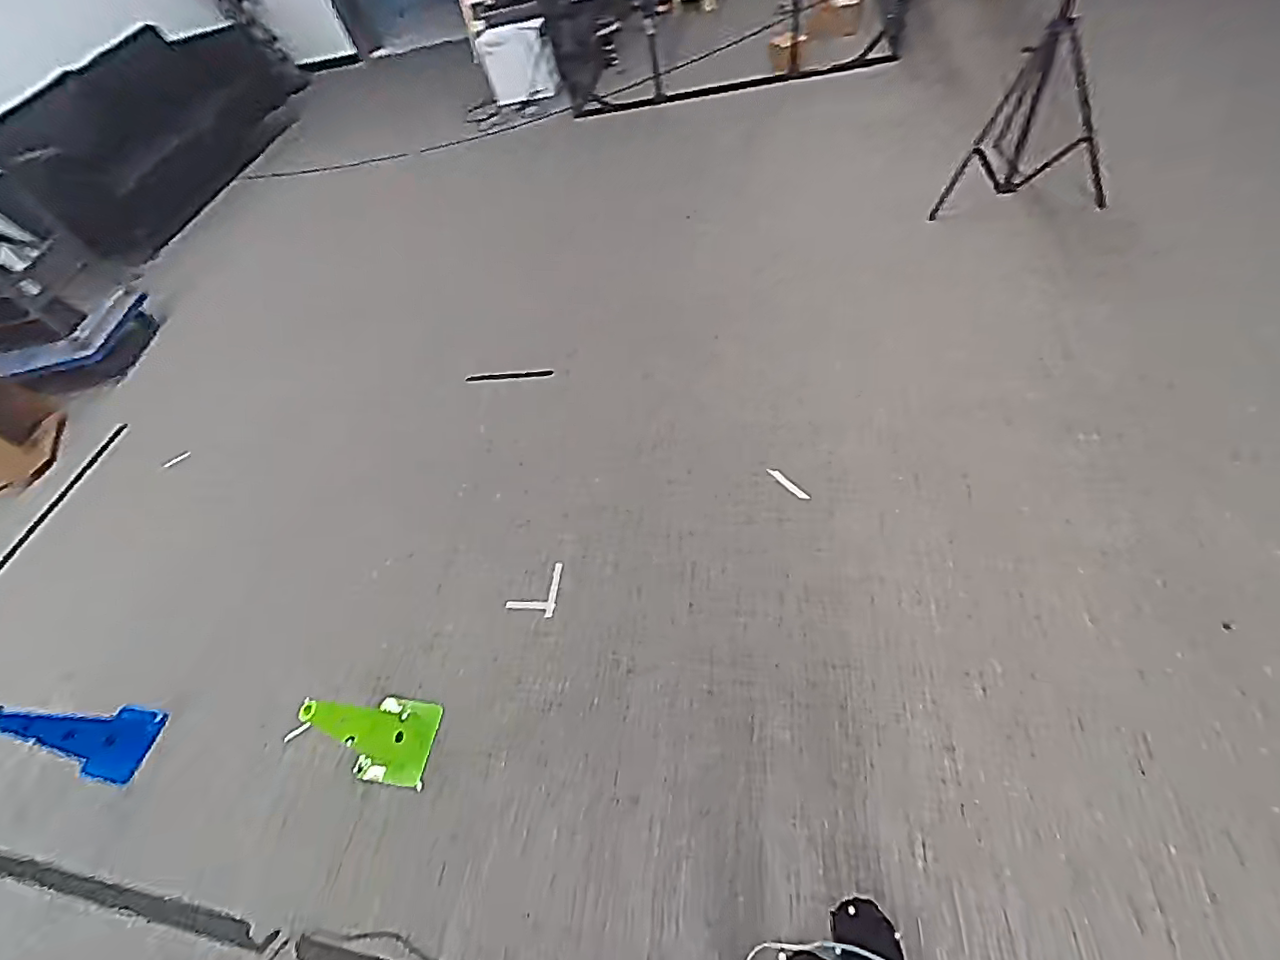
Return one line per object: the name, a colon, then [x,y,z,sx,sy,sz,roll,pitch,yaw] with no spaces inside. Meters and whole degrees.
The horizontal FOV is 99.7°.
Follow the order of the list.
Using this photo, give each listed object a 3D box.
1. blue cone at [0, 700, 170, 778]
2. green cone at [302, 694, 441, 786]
blue cone: [-1.581,0.694,1.510,0.193,0.380,0.192,4,55,17]
green cone: [-0.686,0.601,1.323,0.200,0.368,0.202,0,54,15]
